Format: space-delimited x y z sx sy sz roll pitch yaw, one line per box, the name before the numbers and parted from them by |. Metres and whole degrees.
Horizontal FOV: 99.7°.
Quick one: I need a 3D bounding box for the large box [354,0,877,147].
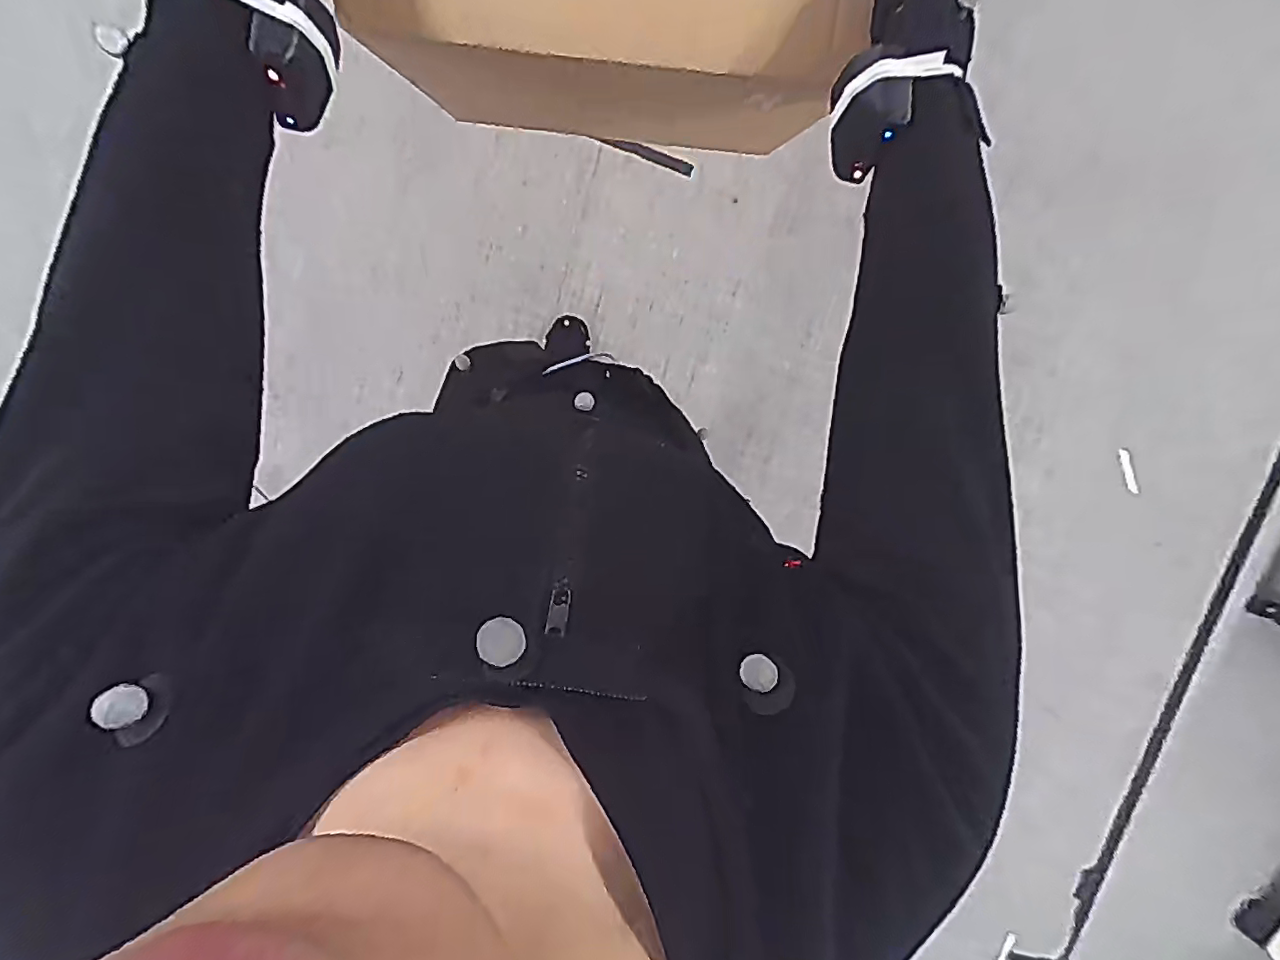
large box | -0.014 -0.531 0.502 0.408 0.320 0.320 4 113 -4
